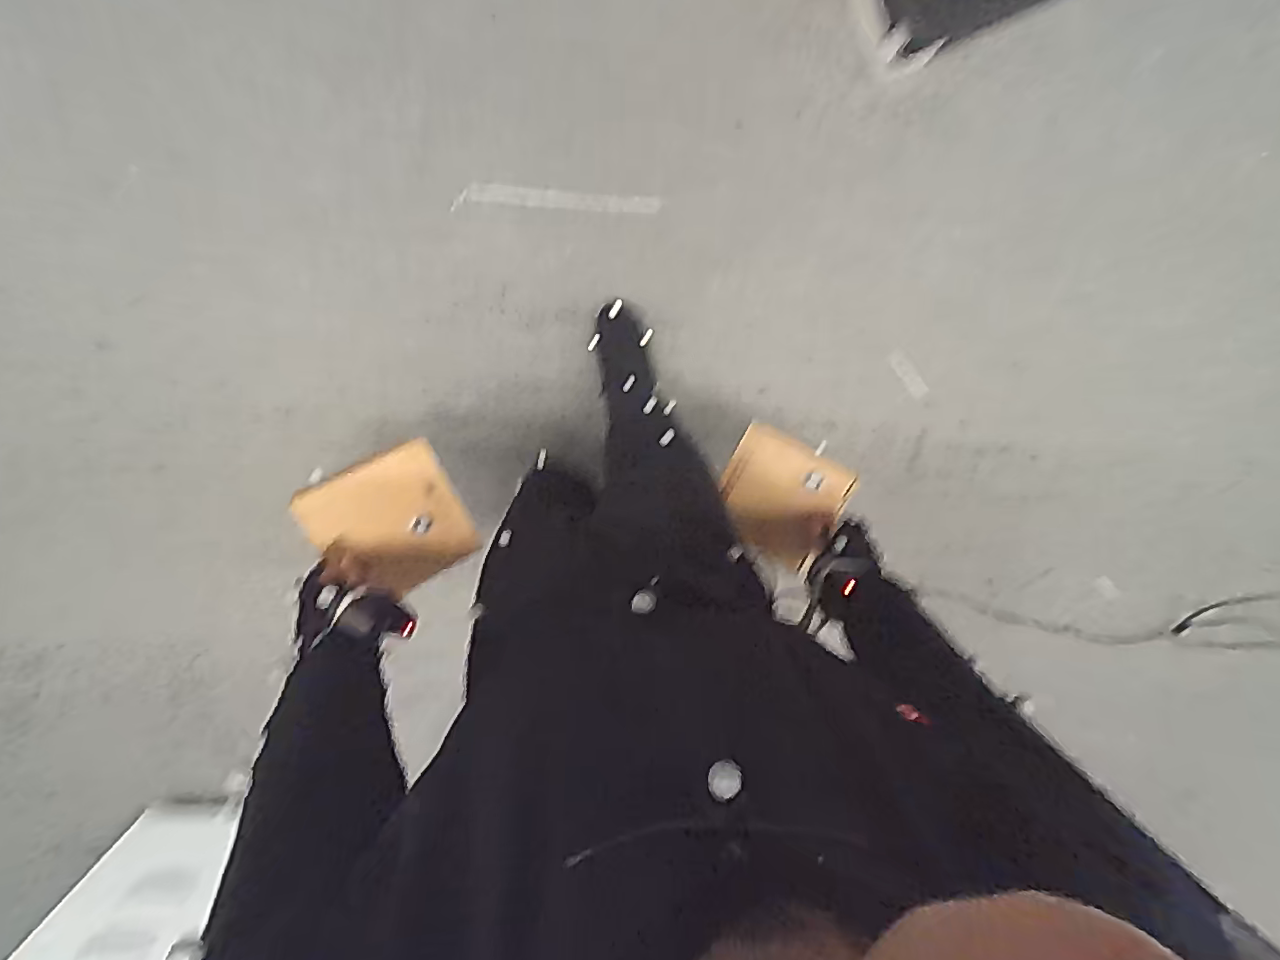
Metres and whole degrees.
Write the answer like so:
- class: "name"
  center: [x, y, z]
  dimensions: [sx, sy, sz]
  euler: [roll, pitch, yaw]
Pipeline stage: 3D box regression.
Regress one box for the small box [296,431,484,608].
- class: "small box"
  center: [-0.336, 0.042, 0.737]
  dimensions: [0.176, 0.179, 0.168]
  euler: [-32, 109, -26]
